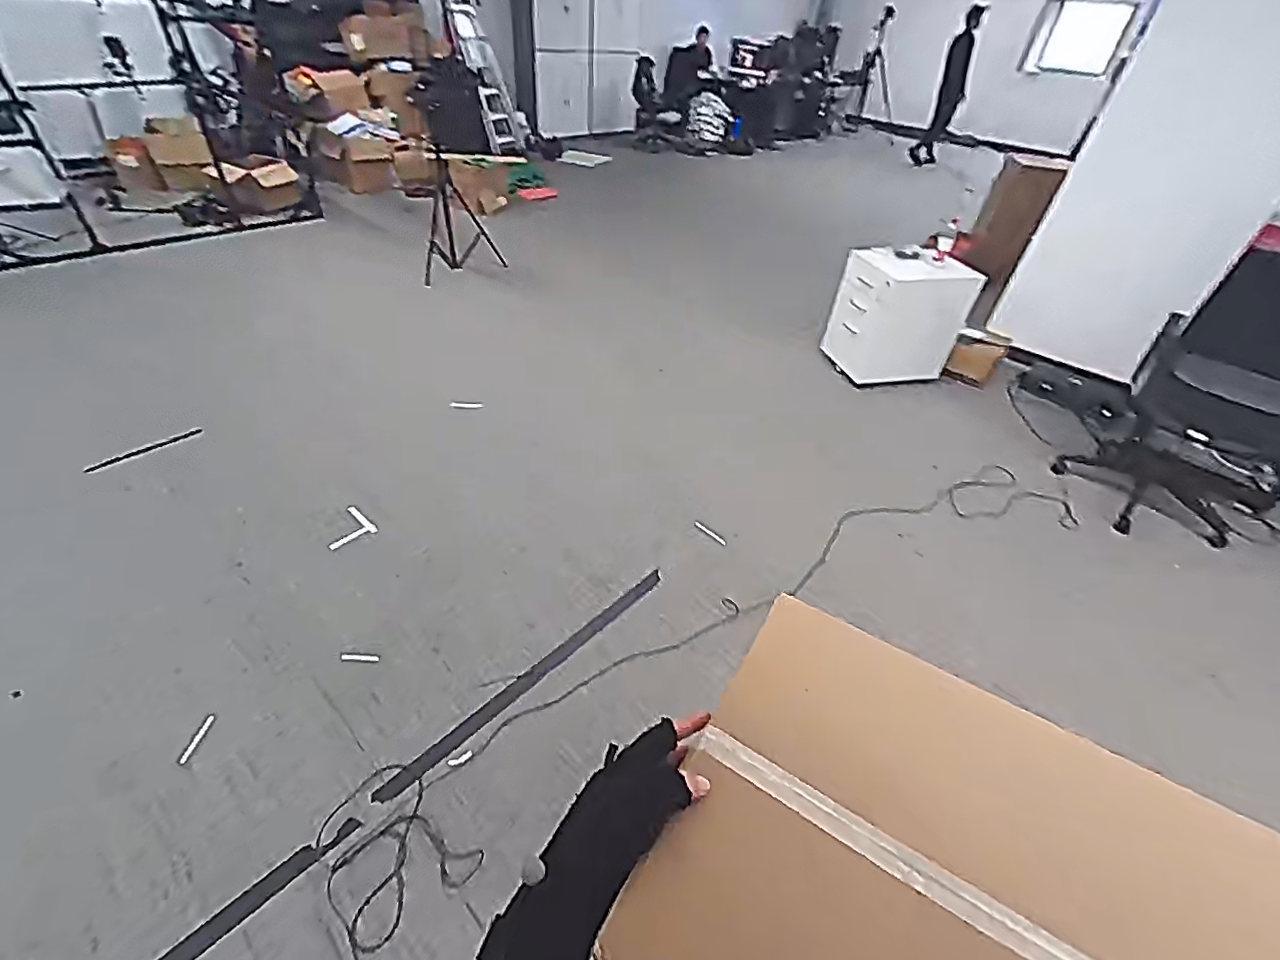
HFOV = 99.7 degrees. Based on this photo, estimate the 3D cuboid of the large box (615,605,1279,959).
[{"bbox_3d":[0.230,0.388,0.475,0.408,0.320,0.320,25,53,23],"label":"large box"}]
